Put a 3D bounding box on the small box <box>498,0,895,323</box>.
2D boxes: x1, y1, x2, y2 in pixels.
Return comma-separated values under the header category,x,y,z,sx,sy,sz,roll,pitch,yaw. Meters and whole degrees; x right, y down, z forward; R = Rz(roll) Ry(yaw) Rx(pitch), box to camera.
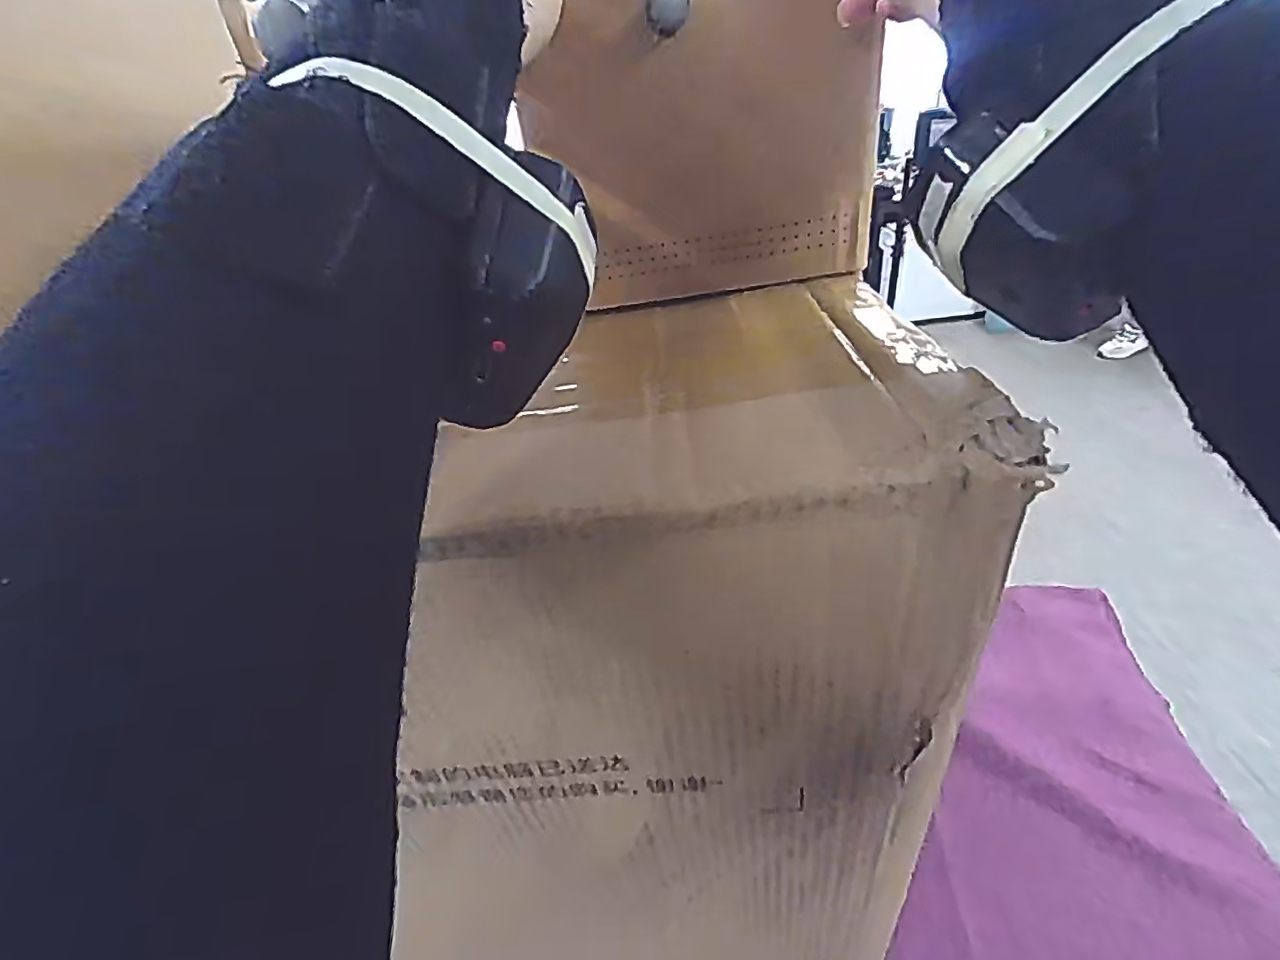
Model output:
category,x,y,z,sx,sy,sz,roll,pitch,yaw
small box,0.036,-0.210,0.328,0.179,0.176,0.168,-6,34,7
